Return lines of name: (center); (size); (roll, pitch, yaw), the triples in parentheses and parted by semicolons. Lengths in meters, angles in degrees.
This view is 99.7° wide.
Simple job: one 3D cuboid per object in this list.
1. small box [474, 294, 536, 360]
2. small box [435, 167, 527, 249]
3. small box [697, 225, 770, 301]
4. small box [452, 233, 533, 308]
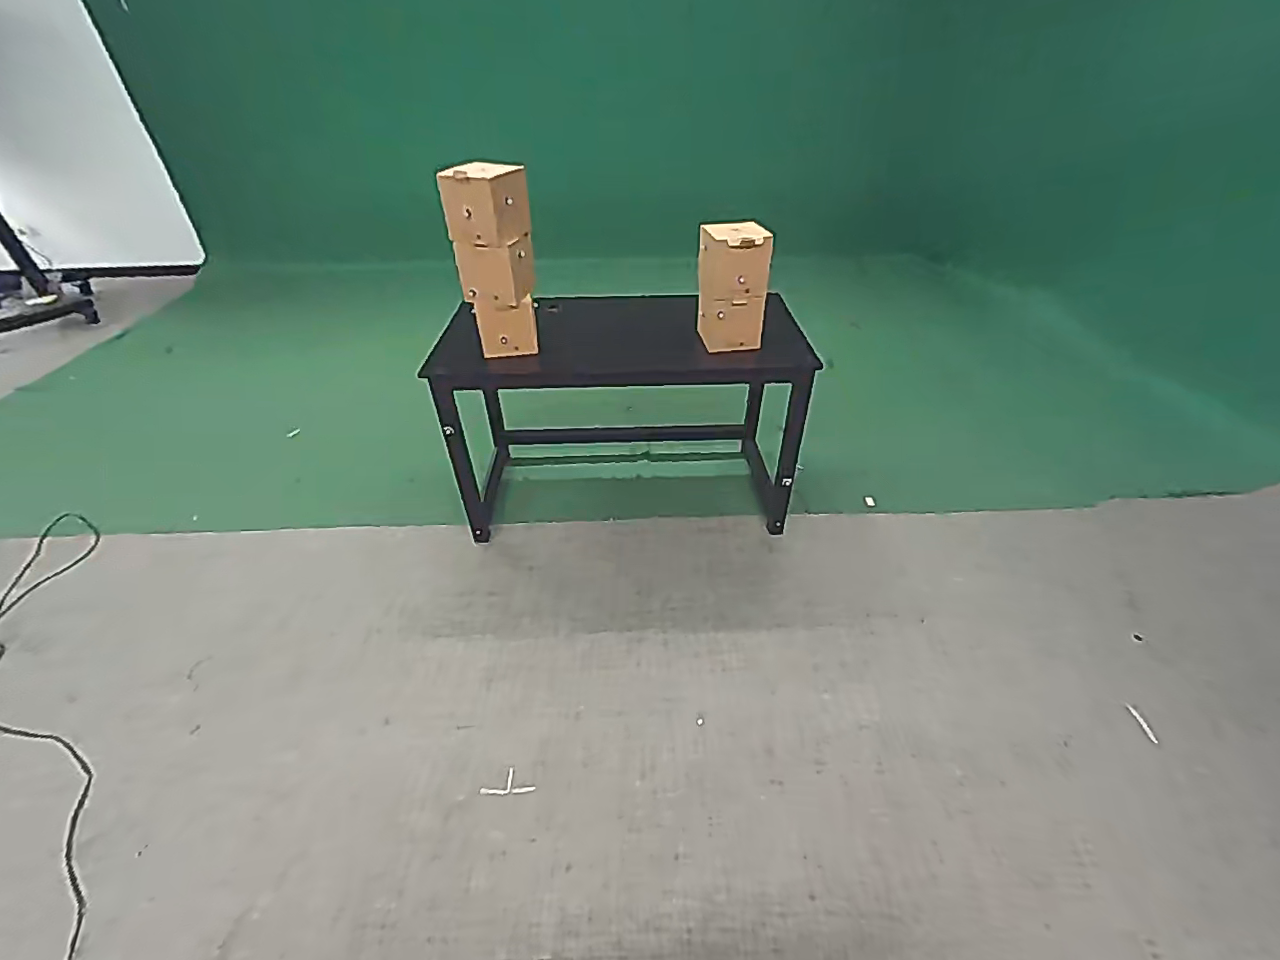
small box: (-0.421, -0.494, 1.700); (0.168, 0.176, 0.179); (-7, 40, -8)
small box: (-0.430, -0.754, 1.498); (0.168, 0.176, 0.179); (15, 43, 16)
small box: (0.270, -0.645, 1.605); (0.168, 0.176, 0.179); (-7, 39, -6)
small box: (-0.426, -0.622, 1.597); (0.168, 0.176, 0.179); (7, 40, 9)
